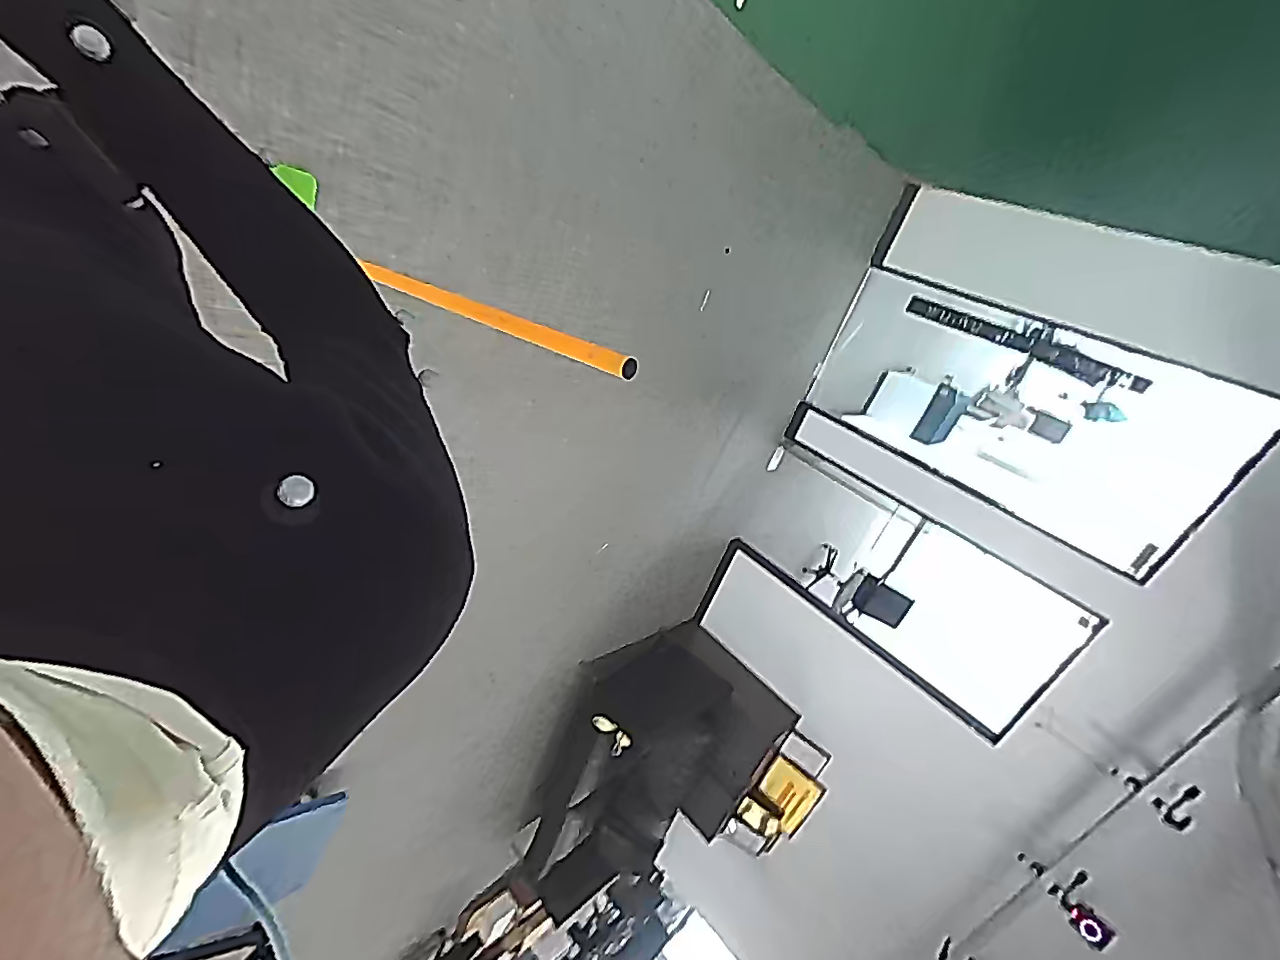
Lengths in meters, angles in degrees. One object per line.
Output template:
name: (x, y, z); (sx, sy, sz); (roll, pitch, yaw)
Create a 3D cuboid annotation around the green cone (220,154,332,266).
green cone: (-0.727, -0.525, 1.144); (0.202, 0.368, 0.200); (-5, 124, -47)
